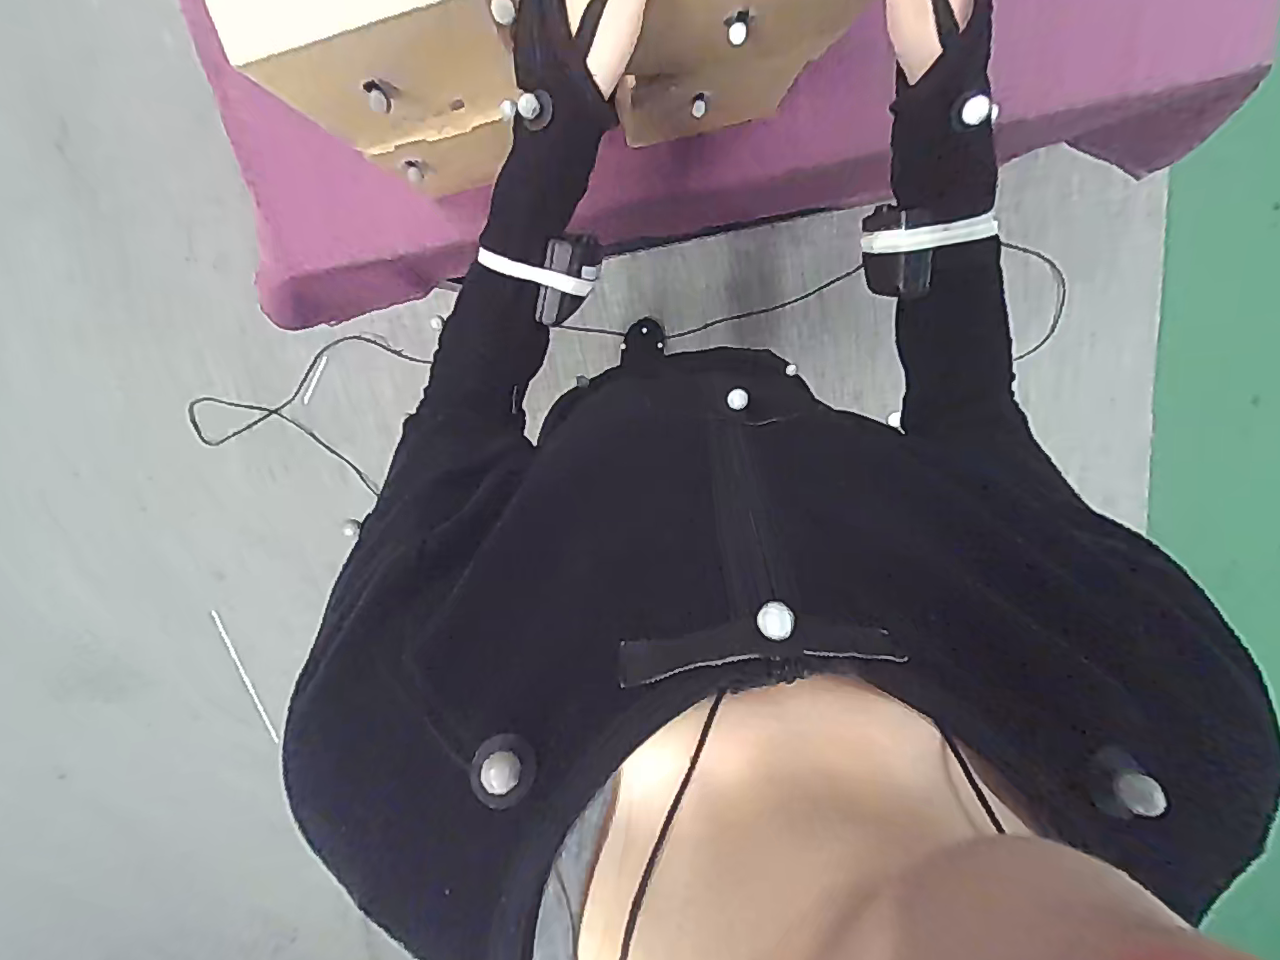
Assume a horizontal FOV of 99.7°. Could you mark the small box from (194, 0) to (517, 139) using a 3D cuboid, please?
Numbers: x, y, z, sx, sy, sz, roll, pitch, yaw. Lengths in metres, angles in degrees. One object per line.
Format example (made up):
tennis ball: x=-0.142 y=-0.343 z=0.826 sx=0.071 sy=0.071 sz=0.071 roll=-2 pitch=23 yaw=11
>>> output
small box: x=-0.203 y=-0.376 z=0.387 sx=0.168 sy=0.176 sz=0.179 roll=-15 pitch=103 yaw=3

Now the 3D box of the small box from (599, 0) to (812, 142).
small box: x=0.051 y=-0.465 z=0.535 sx=0.179 sy=0.176 sz=0.168 roll=-12 pitch=106 yaw=3
